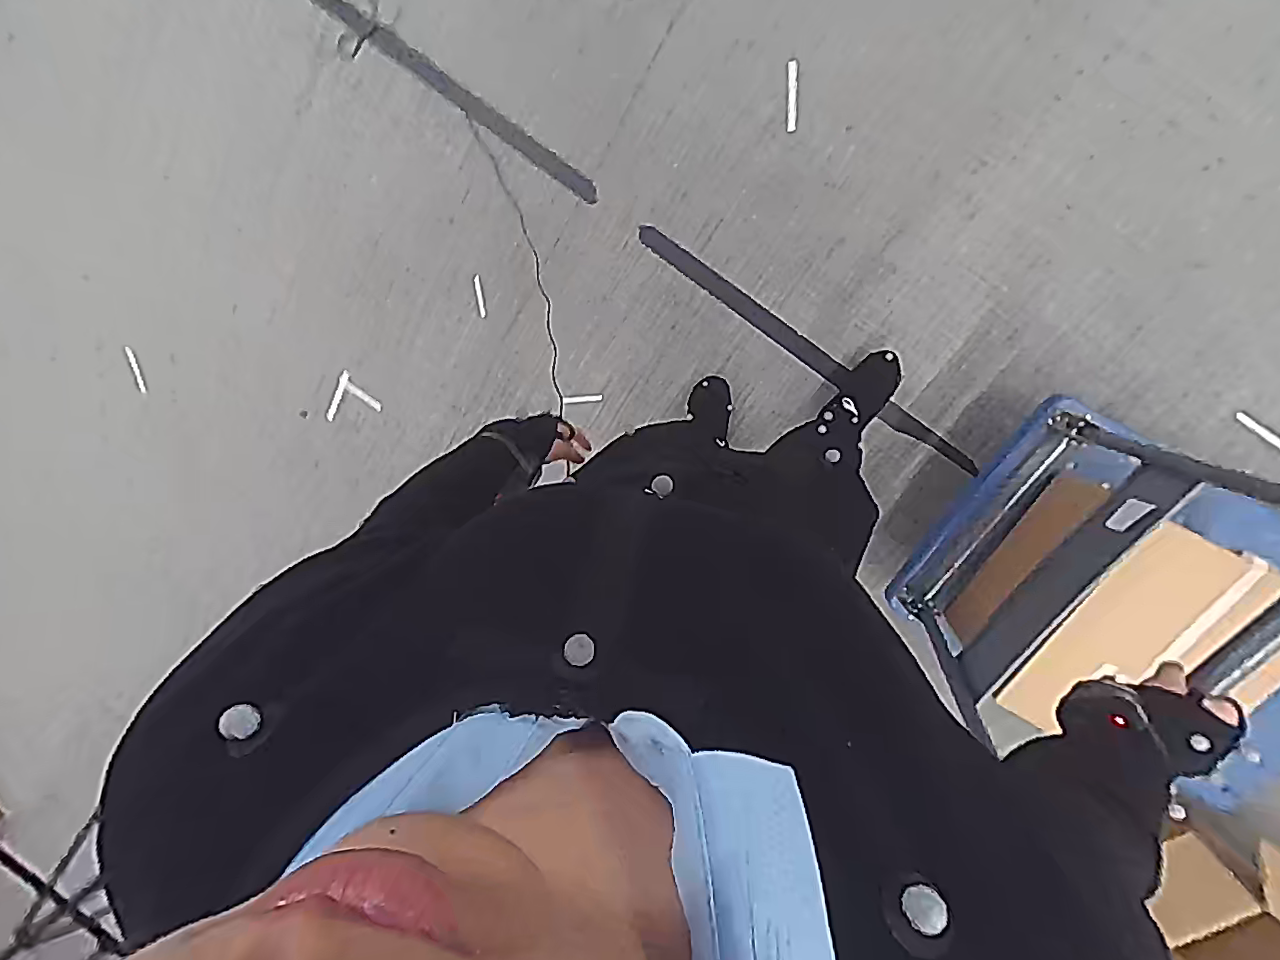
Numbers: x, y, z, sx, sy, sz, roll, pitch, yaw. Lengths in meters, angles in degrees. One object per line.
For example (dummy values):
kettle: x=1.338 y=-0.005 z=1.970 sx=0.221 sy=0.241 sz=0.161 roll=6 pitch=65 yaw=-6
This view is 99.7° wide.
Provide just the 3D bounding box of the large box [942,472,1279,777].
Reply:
large box: x=0.877 y=0.252 z=1.042 sx=0.320 sy=0.320 sz=0.408 roll=28 pitch=110 yaw=6
